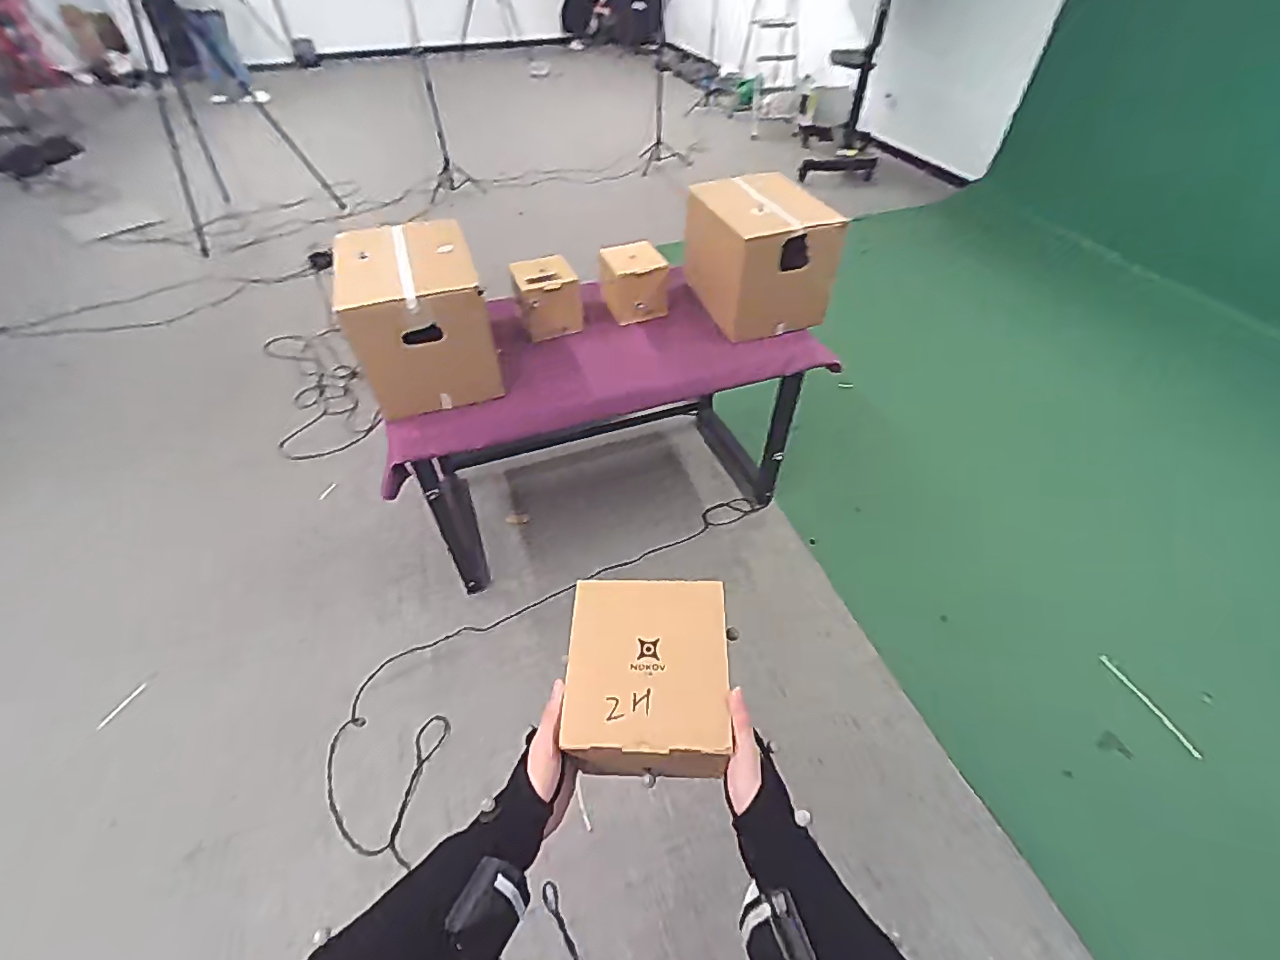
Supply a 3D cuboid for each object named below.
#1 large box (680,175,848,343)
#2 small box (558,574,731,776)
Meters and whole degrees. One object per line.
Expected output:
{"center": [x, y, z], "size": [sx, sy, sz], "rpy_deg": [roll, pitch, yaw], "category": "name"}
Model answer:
{"center": [0.343, -0.675, 1.634], "size": [0.320, 0.320, 0.408], "rpy_deg": [-15, 50, -12], "category": "large box"}
{"center": [0.009, 0.223, 0.616], "size": [0.168, 0.176, 0.179], "rpy_deg": [-1, 54, 3], "category": "small box"}
